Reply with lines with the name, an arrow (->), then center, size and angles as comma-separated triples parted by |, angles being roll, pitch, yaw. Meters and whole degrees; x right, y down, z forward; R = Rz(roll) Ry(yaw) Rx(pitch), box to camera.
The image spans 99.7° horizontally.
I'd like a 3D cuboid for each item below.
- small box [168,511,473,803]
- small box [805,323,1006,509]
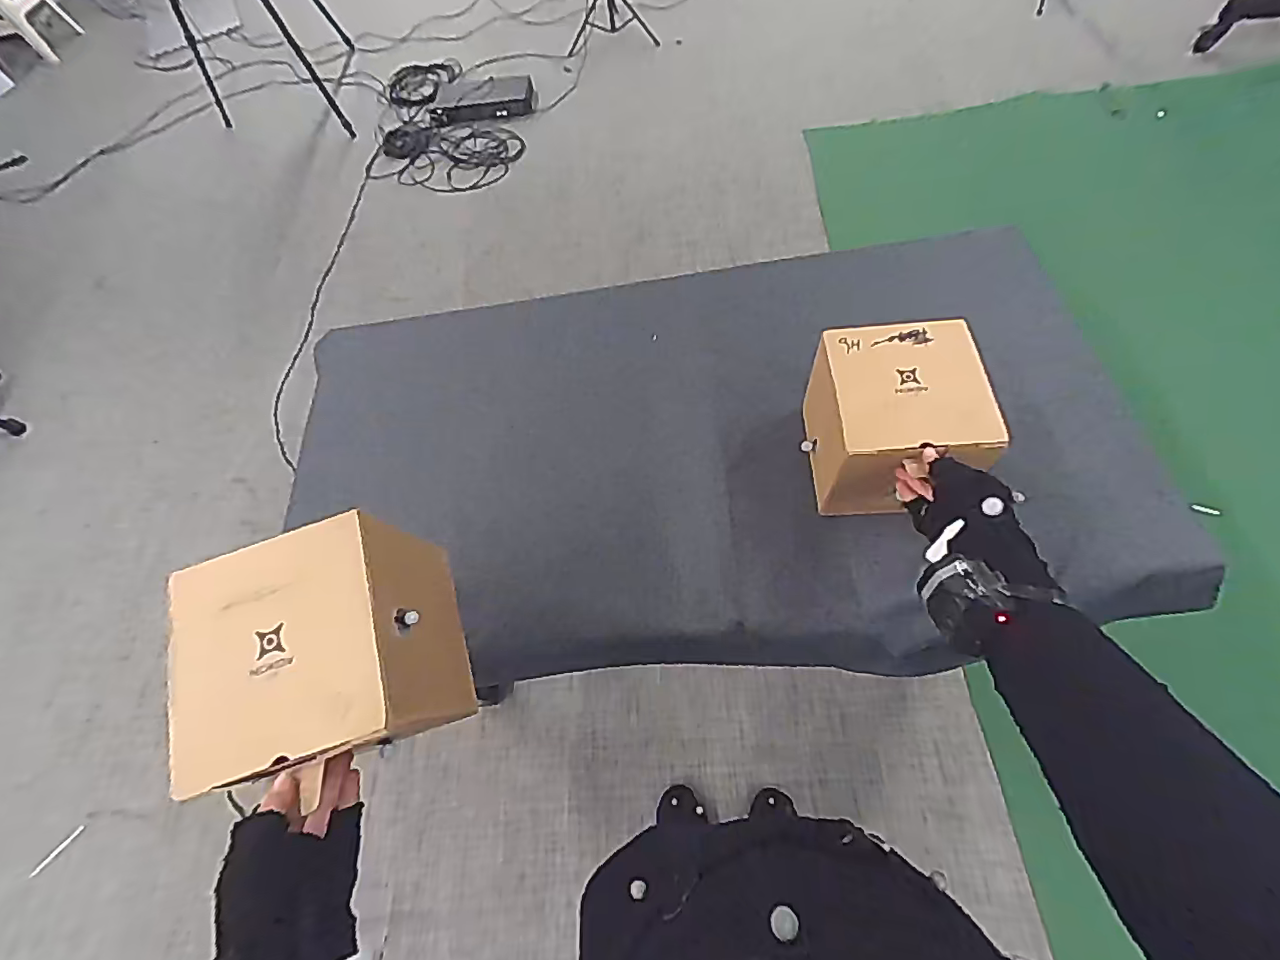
small box -> -0.267, 0.151, 0.482 | 0.168, 0.176, 0.179 | -19, 69, -1
small box -> 0.310, -0.069, 0.675 | 0.168, 0.176, 0.179 | -2, 63, 5
